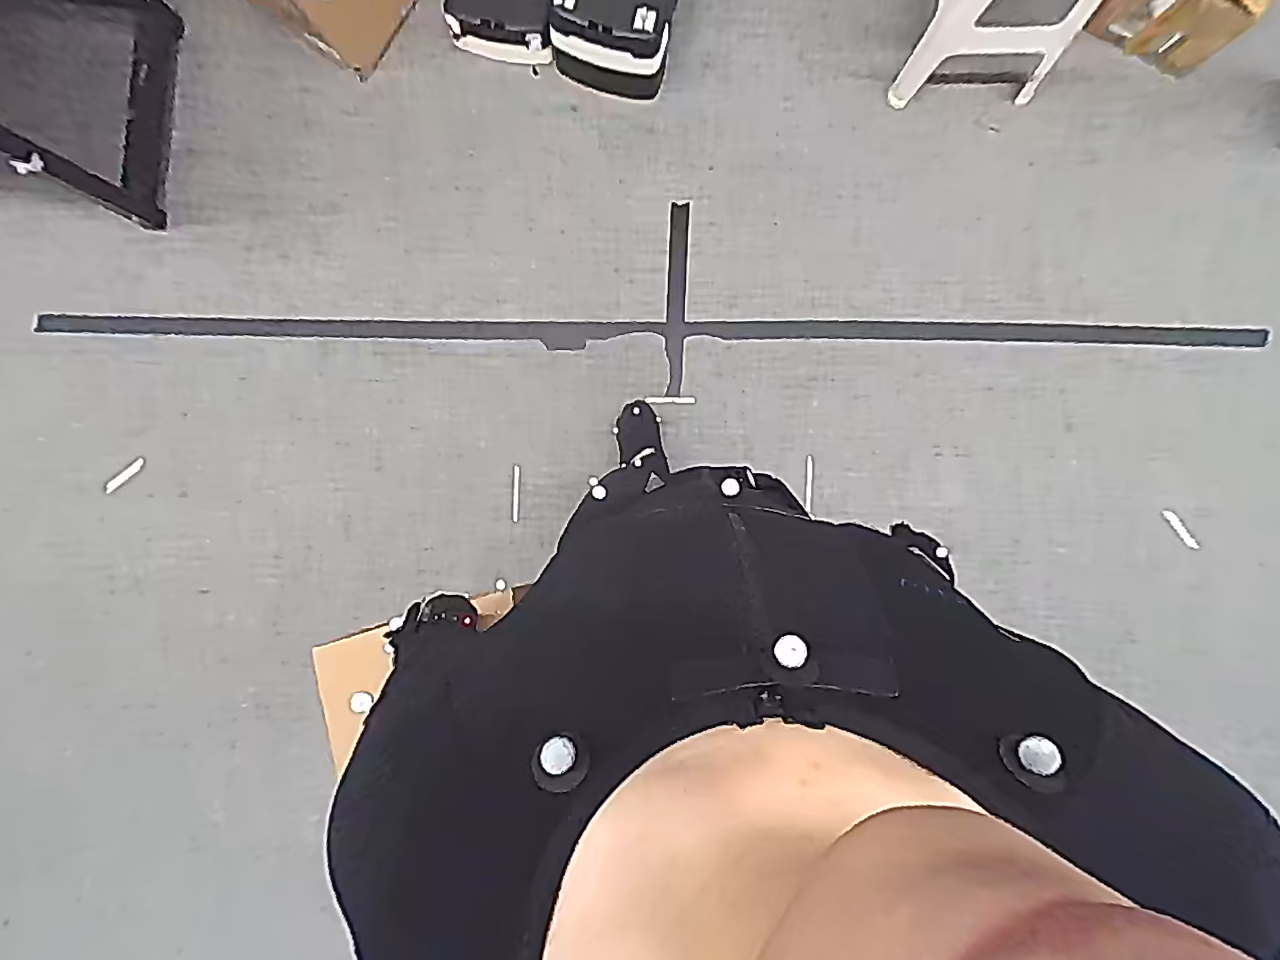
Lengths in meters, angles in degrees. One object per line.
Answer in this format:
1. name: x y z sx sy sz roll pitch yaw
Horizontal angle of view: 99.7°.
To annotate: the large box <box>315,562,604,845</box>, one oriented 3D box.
1. large box: -0.273 0.346 0.958 0.320 0.408 0.320 -18 83 4
